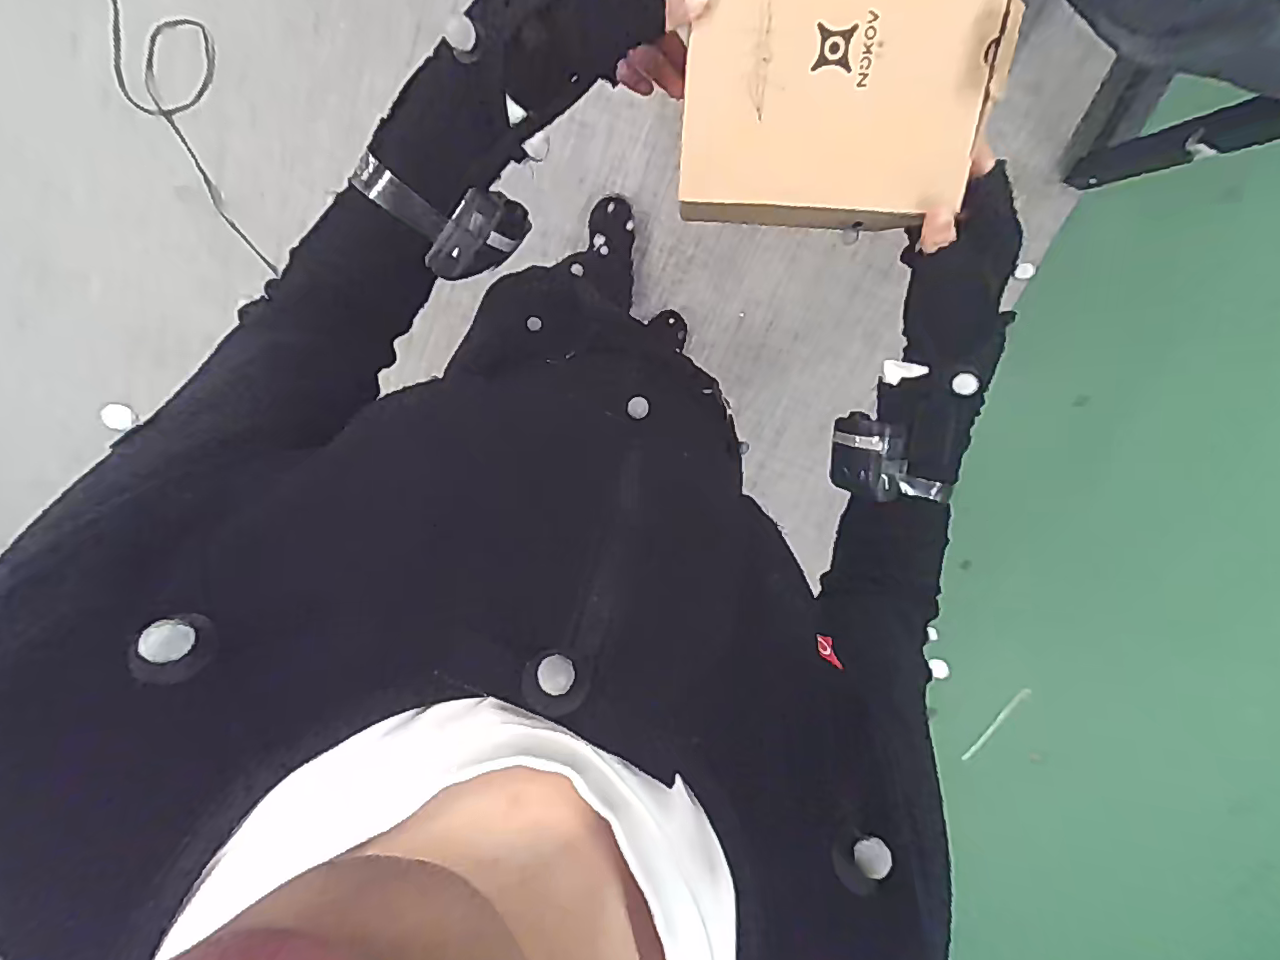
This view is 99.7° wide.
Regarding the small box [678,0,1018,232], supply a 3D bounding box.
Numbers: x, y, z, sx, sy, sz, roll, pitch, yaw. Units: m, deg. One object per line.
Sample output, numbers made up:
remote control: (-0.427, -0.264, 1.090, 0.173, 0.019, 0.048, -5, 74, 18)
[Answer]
small box: (0.122, -0.271, 0.376, 0.179, 0.176, 0.168, 5, 111, 5)
